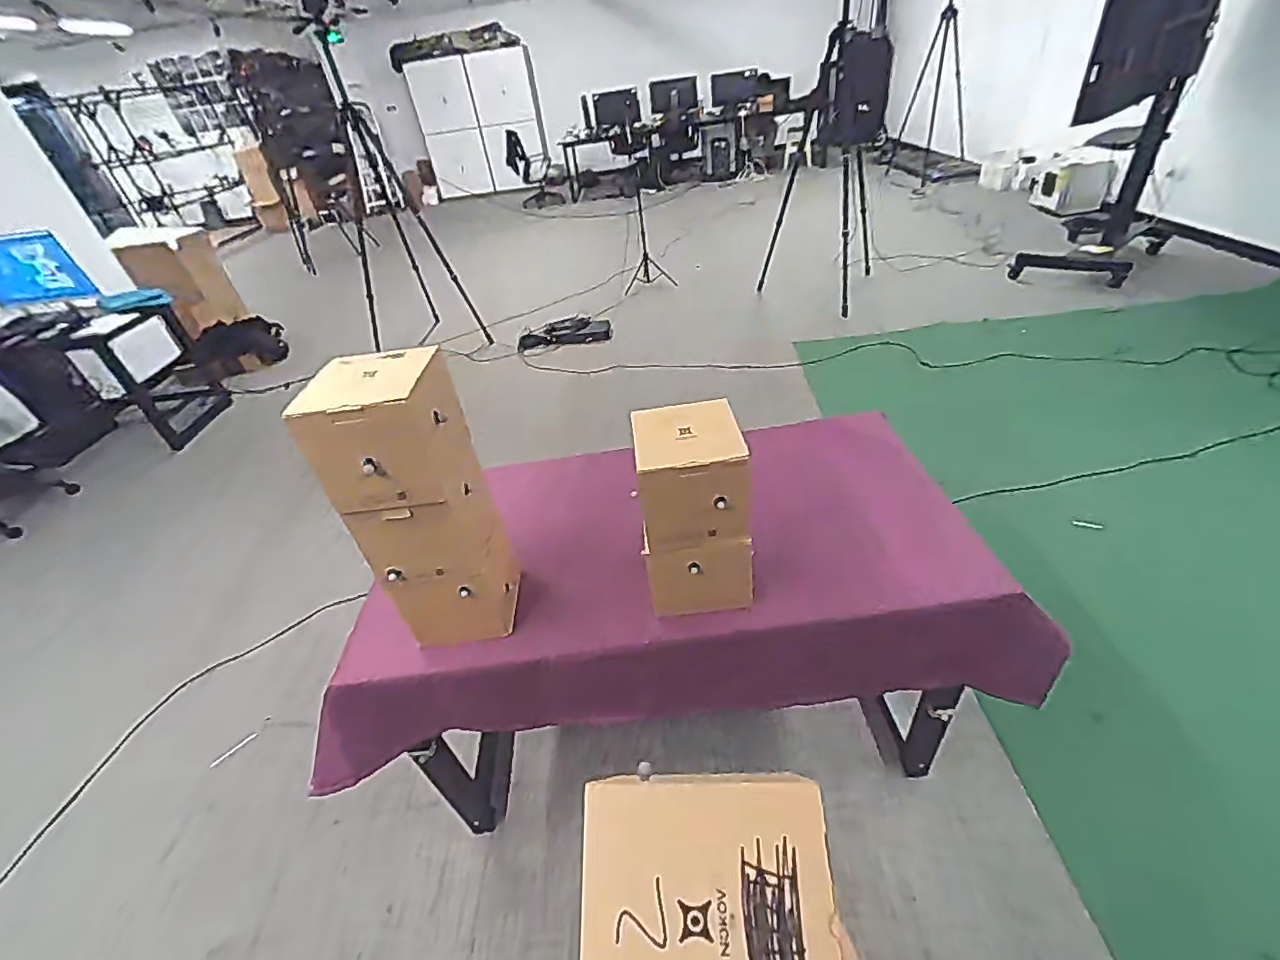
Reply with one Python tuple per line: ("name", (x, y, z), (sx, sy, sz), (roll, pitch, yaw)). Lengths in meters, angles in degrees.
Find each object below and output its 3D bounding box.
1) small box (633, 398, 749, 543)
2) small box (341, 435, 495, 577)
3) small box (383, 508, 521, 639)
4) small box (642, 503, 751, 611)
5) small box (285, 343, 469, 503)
("small box", (0.082, -0.011, 0.887), (0.168, 0.176, 0.179), (-8, 37, 1))
("small box", (-0.353, 0.047, 0.901), (0.168, 0.176, 0.179), (-7, 36, 1))
("small box", (-0.335, 0.176, 1.000), (0.179, 0.176, 0.168), (-7, 38, 1))
("small box", (0.102, 0.120, 0.982), (0.179, 0.176, 0.168), (-7, 39, 3))
("small box", (-0.366, -0.078, 0.795), (0.168, 0.176, 0.179), (-6, 38, 1))
